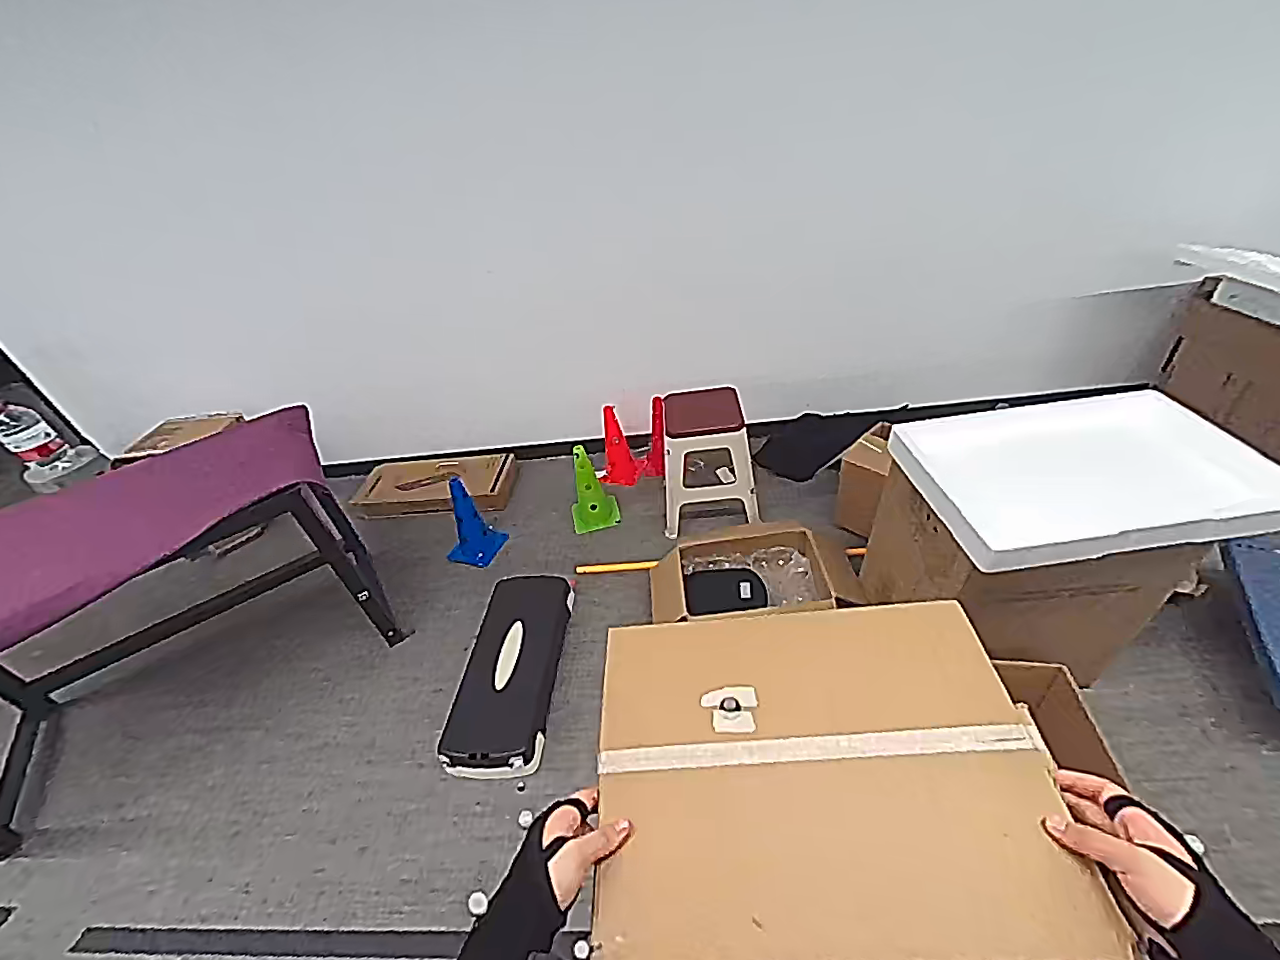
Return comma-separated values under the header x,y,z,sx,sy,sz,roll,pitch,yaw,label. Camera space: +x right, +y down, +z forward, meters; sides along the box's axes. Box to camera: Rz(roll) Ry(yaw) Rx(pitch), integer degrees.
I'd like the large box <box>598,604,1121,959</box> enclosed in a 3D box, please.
x,y,z,sx,sy,sz,roll,pitch,yaw,label
0.189,0.380,0.624,0.408,0.320,0.320,-8,40,7,large box
